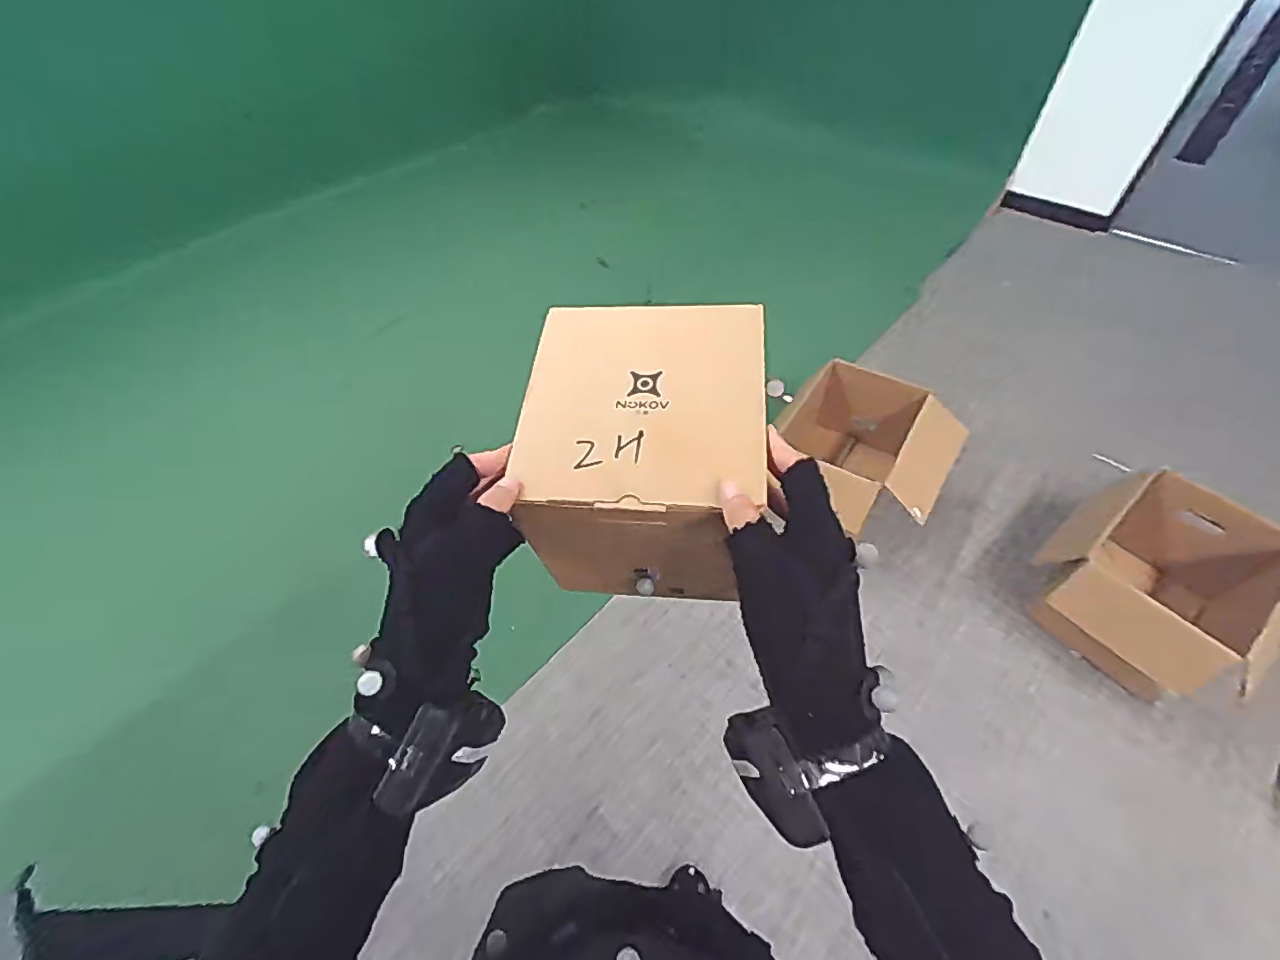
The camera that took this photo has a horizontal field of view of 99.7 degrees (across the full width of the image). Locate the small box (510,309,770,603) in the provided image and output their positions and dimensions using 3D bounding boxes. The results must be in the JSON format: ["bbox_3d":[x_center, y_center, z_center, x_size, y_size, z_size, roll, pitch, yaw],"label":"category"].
[{"bbox_3d":[0.014,-0.016,0.443,0.168,0.176,0.179,2,59,9],"label":"small box"}]
